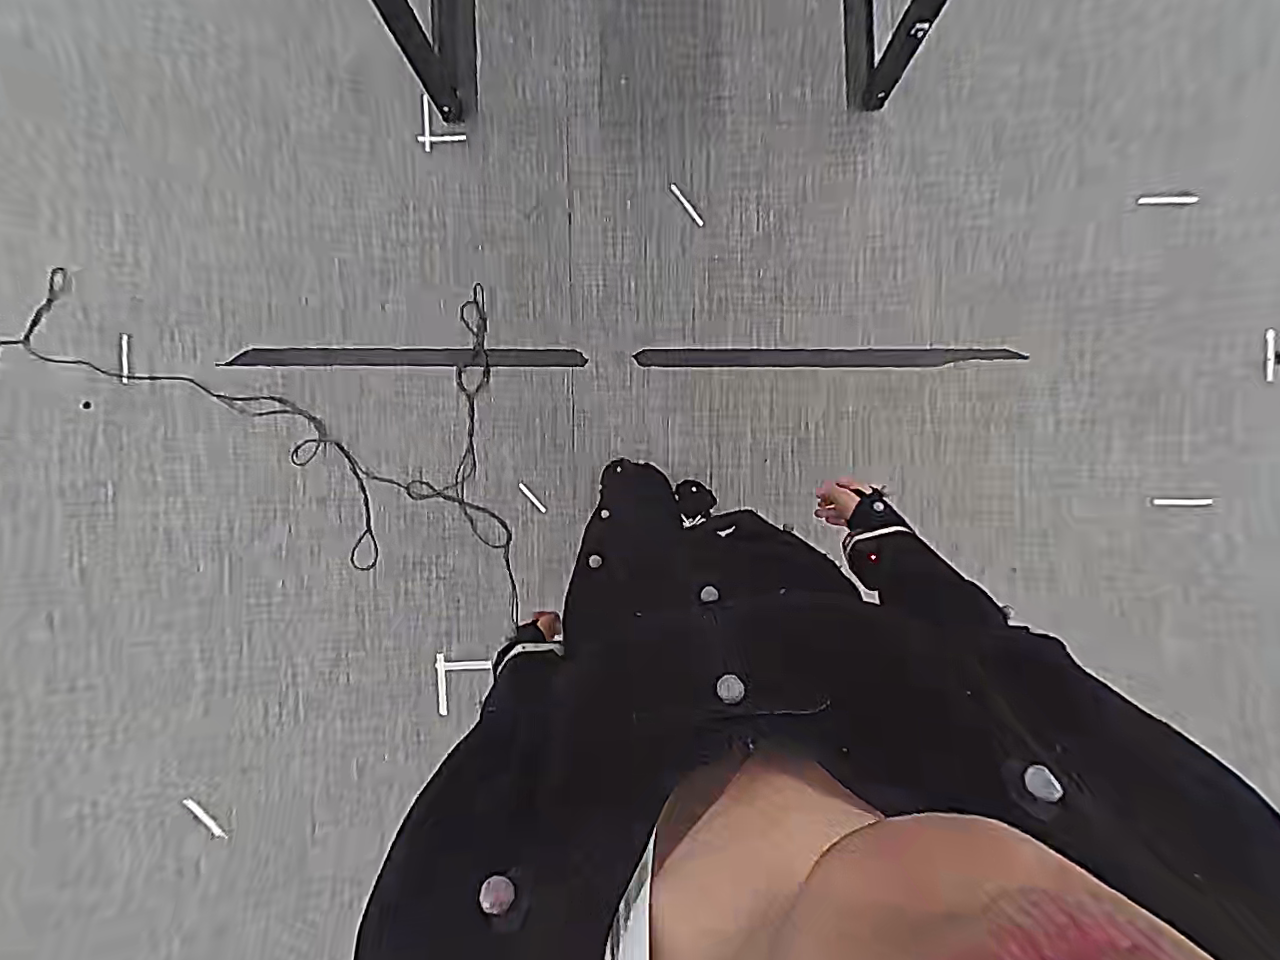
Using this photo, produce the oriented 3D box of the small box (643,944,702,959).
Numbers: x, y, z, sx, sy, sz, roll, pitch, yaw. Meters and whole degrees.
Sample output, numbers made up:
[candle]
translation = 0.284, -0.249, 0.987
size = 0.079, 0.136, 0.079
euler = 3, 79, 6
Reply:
[small box]
translation = 0.088, 1.390, 1.439
size = 0.168, 0.176, 0.179
euler = 1, 91, 2
